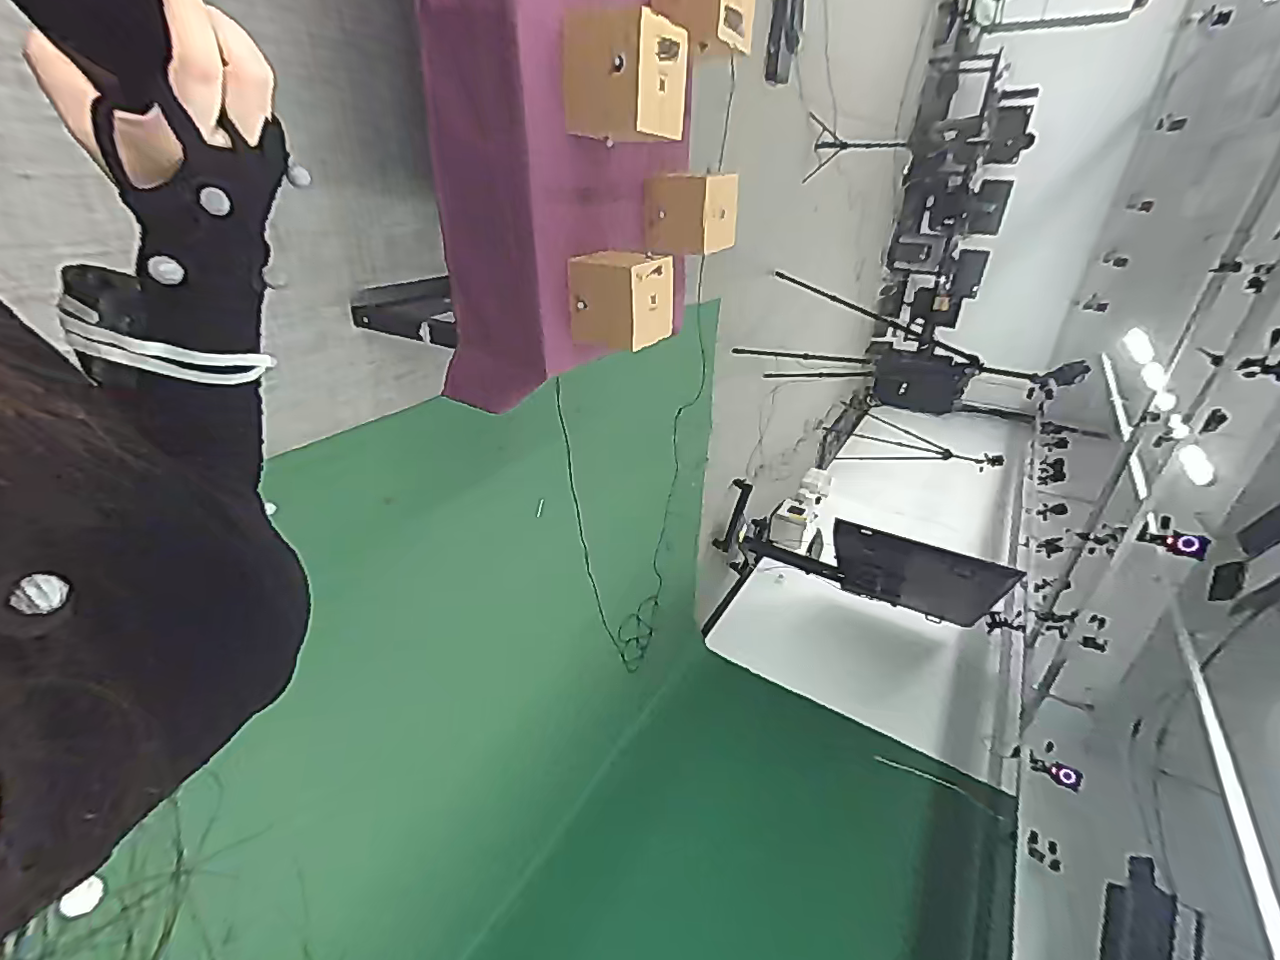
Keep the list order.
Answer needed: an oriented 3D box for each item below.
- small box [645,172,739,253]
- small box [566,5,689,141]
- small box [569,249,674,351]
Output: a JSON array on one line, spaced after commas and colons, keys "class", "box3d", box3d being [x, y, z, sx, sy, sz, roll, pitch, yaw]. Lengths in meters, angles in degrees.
[{"class": "small box", "box3d": [0.128, -0.667, 1.339, 0.179, 0.176, 0.168, -39, 138, -45]}, {"class": "small box", "box3d": [-0.025, -0.750, 1.018, 0.168, 0.176, 0.179, -33, 135, -49]}, {"class": "small box", "box3d": [-0.042, -0.403, 1.195, 0.168, 0.176, 0.179, -38, 138, -47]}]
